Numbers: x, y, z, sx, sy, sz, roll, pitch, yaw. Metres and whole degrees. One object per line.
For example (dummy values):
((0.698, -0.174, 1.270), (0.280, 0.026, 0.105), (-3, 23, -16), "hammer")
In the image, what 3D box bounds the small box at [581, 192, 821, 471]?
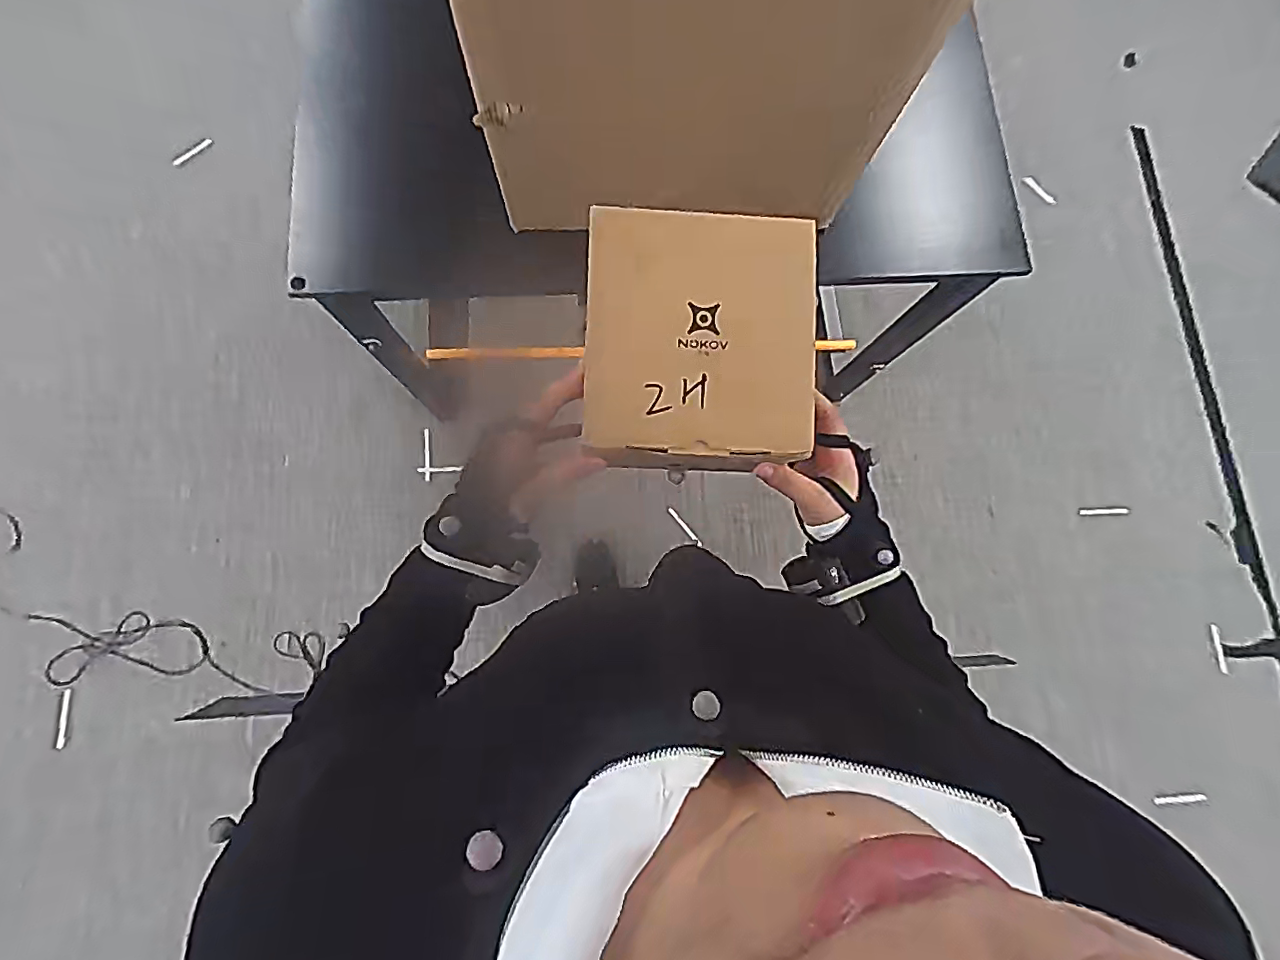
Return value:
((0.040, -0.106, 0.456), (0.168, 0.176, 0.179), (3, 86, -3), "small box")
